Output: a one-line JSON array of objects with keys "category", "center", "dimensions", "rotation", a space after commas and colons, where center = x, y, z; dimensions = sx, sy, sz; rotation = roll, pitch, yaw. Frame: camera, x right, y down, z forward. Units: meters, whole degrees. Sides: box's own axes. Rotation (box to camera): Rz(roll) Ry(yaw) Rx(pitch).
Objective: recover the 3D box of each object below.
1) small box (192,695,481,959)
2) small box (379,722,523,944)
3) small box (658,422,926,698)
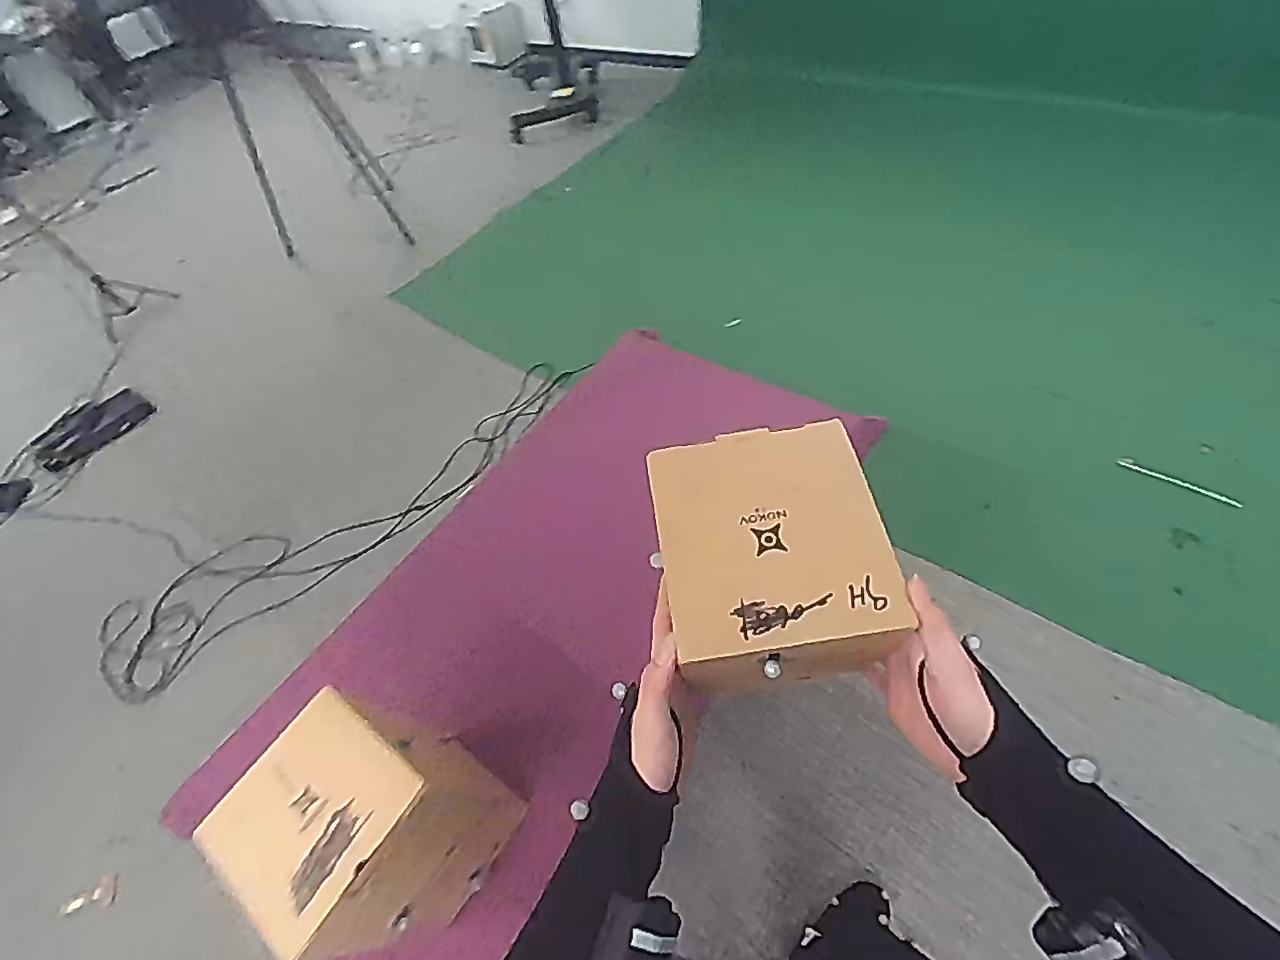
[{"category": "small box", "center": [-0.306, 0.367, 0.581], "dimensions": [0.179, 0.176, 0.168], "rotation": [24, 63, 27]}, {"category": "small box", "center": [-0.288, 0.459, 0.716], "dimensions": [0.179, 0.176, 0.168], "rotation": [26, 63, 25]}, {"category": "small box", "center": [0.112, 0.077, 0.473], "dimensions": [0.168, 0.176, 0.179], "rotation": [-9, 59, 4]}]
